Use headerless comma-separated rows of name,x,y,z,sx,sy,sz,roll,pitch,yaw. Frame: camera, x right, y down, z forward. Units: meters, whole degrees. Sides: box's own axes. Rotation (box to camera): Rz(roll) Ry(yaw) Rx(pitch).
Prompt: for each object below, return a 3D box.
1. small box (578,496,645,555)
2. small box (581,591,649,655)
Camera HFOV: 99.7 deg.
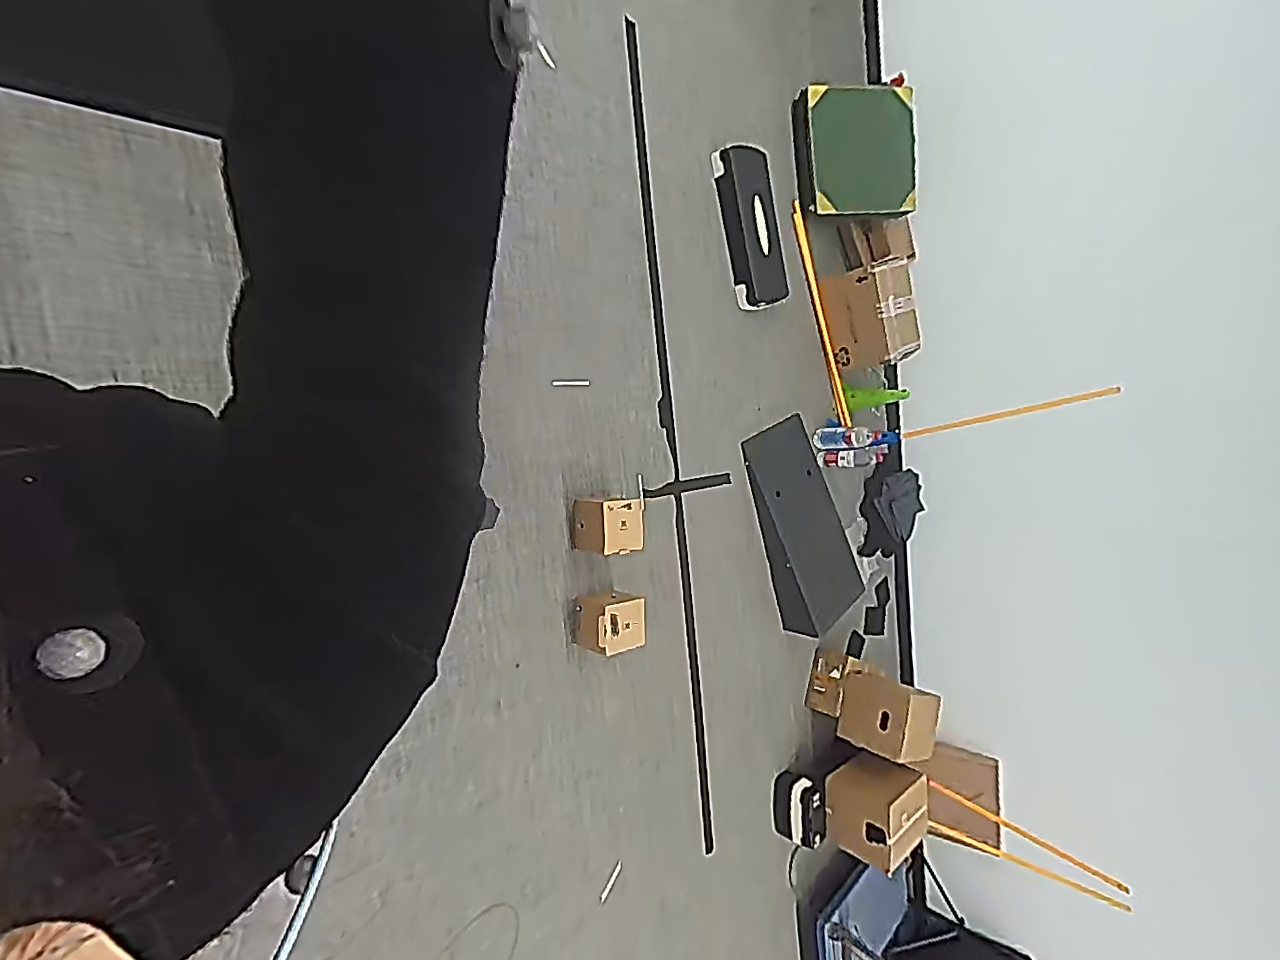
small box,-0.099,0.151,1.837,0.168,0.176,0.179,-3,93,-41
small box,-0.090,0.482,1.848,0.179,0.176,0.168,-2,92,-42
